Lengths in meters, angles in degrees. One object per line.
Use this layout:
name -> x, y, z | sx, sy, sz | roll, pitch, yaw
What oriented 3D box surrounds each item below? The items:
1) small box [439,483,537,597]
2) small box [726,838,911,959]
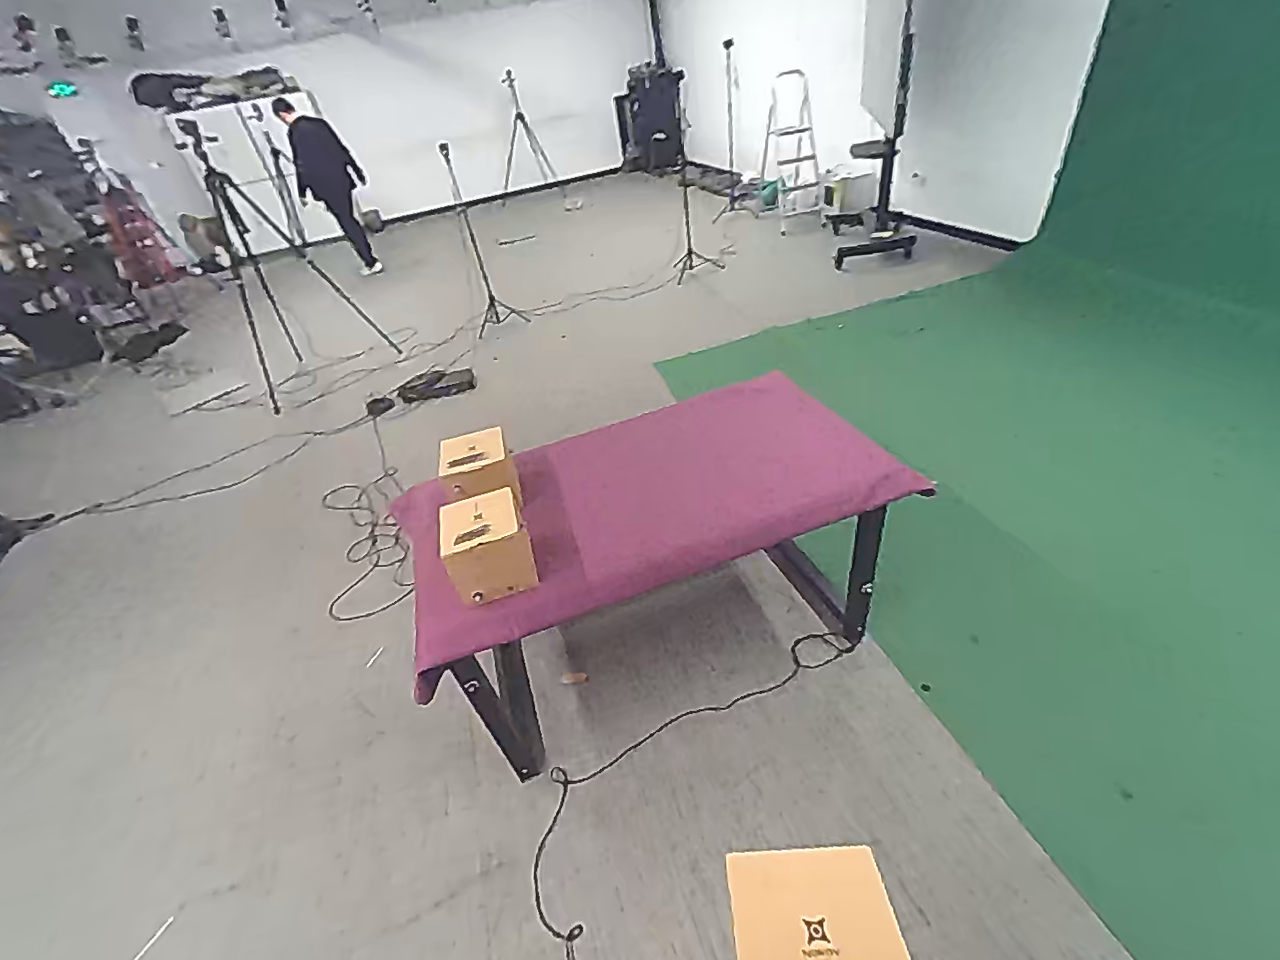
small box -> -0.340, 0.140, 1.215 | 0.168, 0.176, 0.179 | -17, 38, -9
small box -> 0.183, 0.520, 0.571 | 0.168, 0.176, 0.179 | -5, 23, 3
